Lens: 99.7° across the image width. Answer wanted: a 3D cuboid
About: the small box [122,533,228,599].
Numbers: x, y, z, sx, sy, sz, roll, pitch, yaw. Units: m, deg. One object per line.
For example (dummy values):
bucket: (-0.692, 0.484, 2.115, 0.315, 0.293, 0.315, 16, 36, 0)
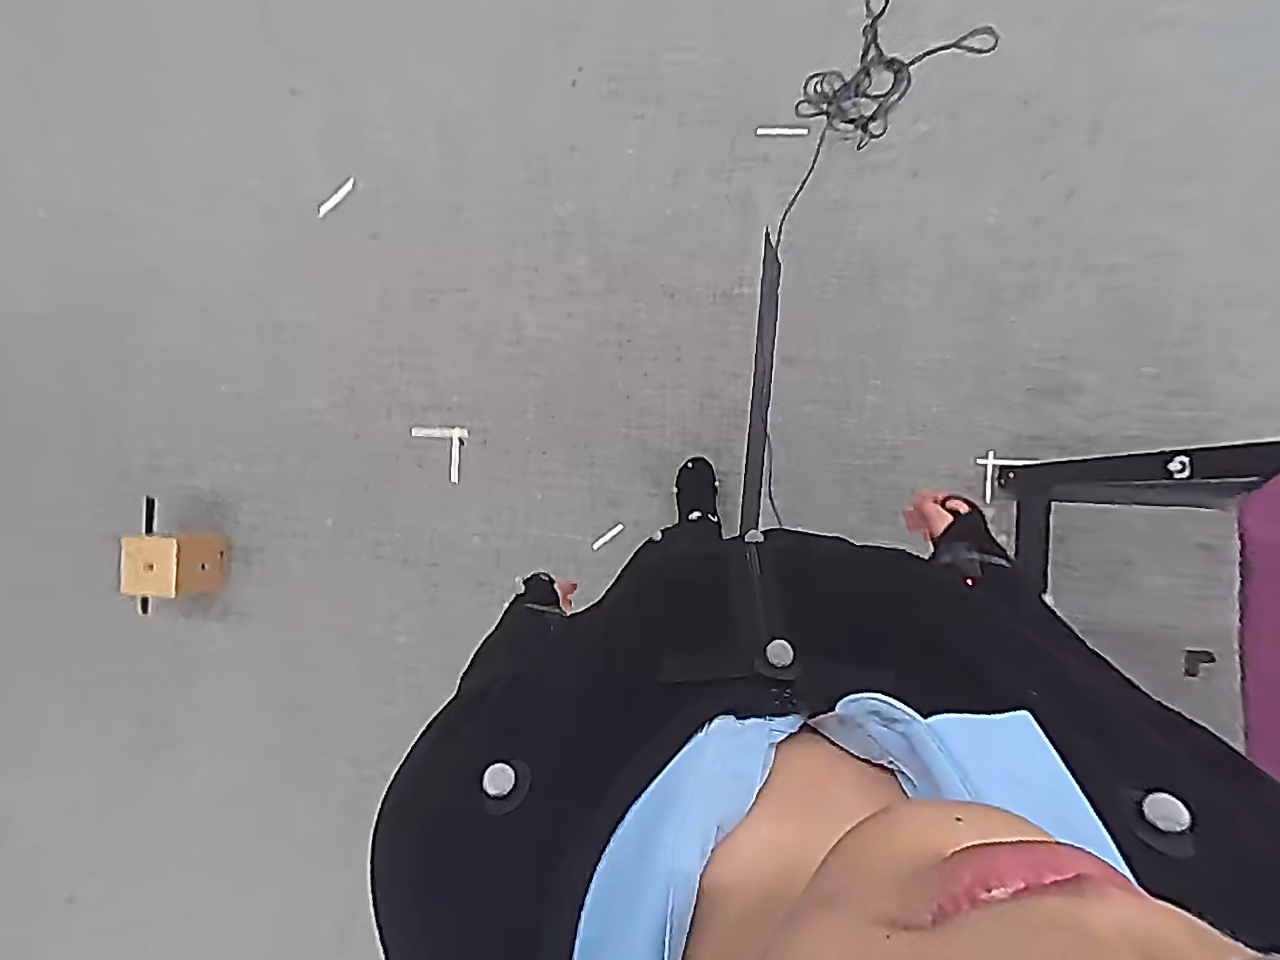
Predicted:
small box: (-1.353, 0.246, 1.584, 0.179, 0.176, 0.168, 2, 89, 7)
